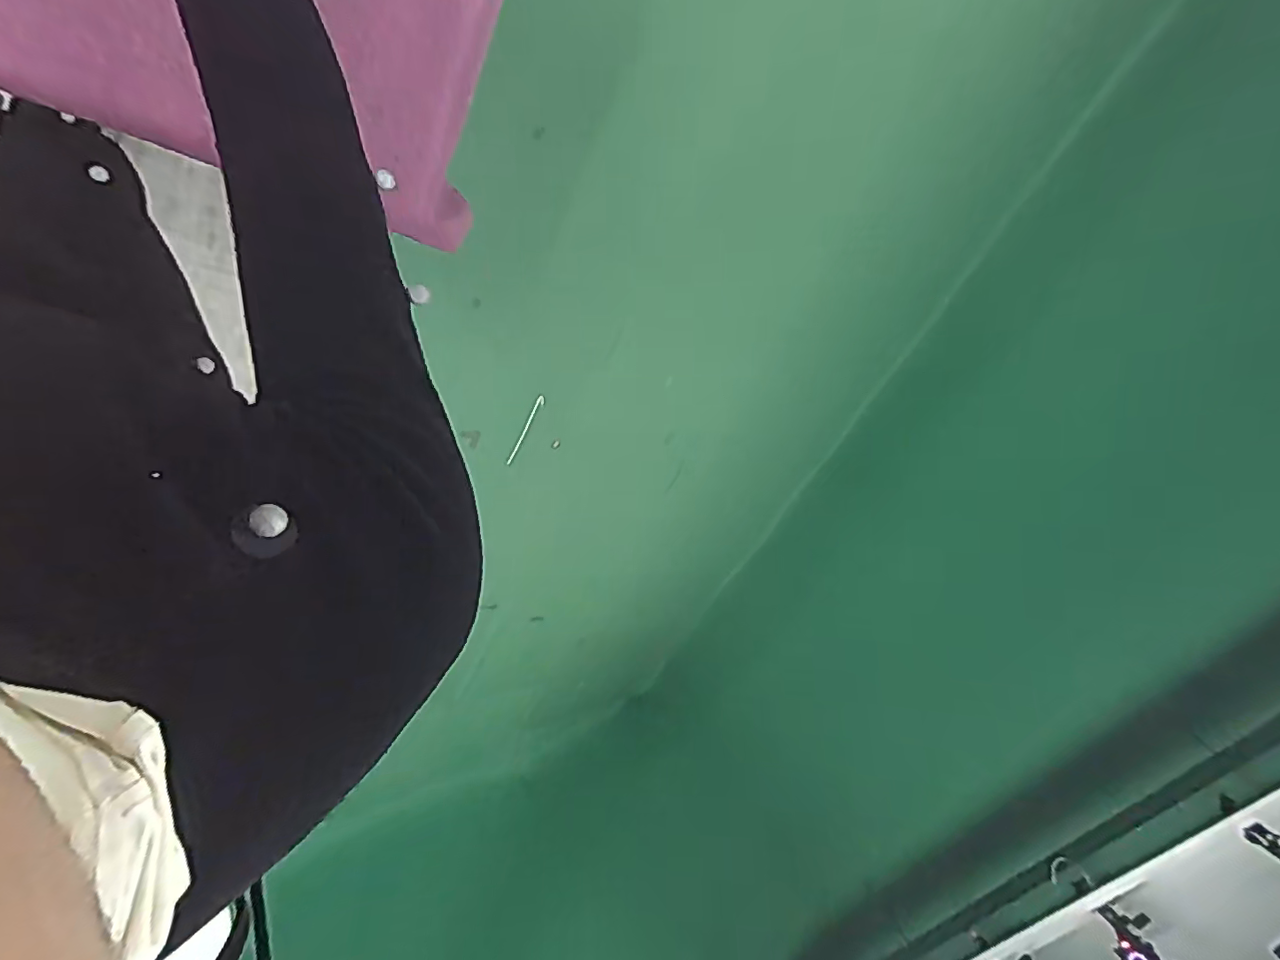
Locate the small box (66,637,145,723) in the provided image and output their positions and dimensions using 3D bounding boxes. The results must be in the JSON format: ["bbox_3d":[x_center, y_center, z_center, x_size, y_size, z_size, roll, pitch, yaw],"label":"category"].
[{"bbox_3d":[-1.660,0.616,1.682,0.168,0.176,0.179,3,128,-46],"label":"small box"}]
